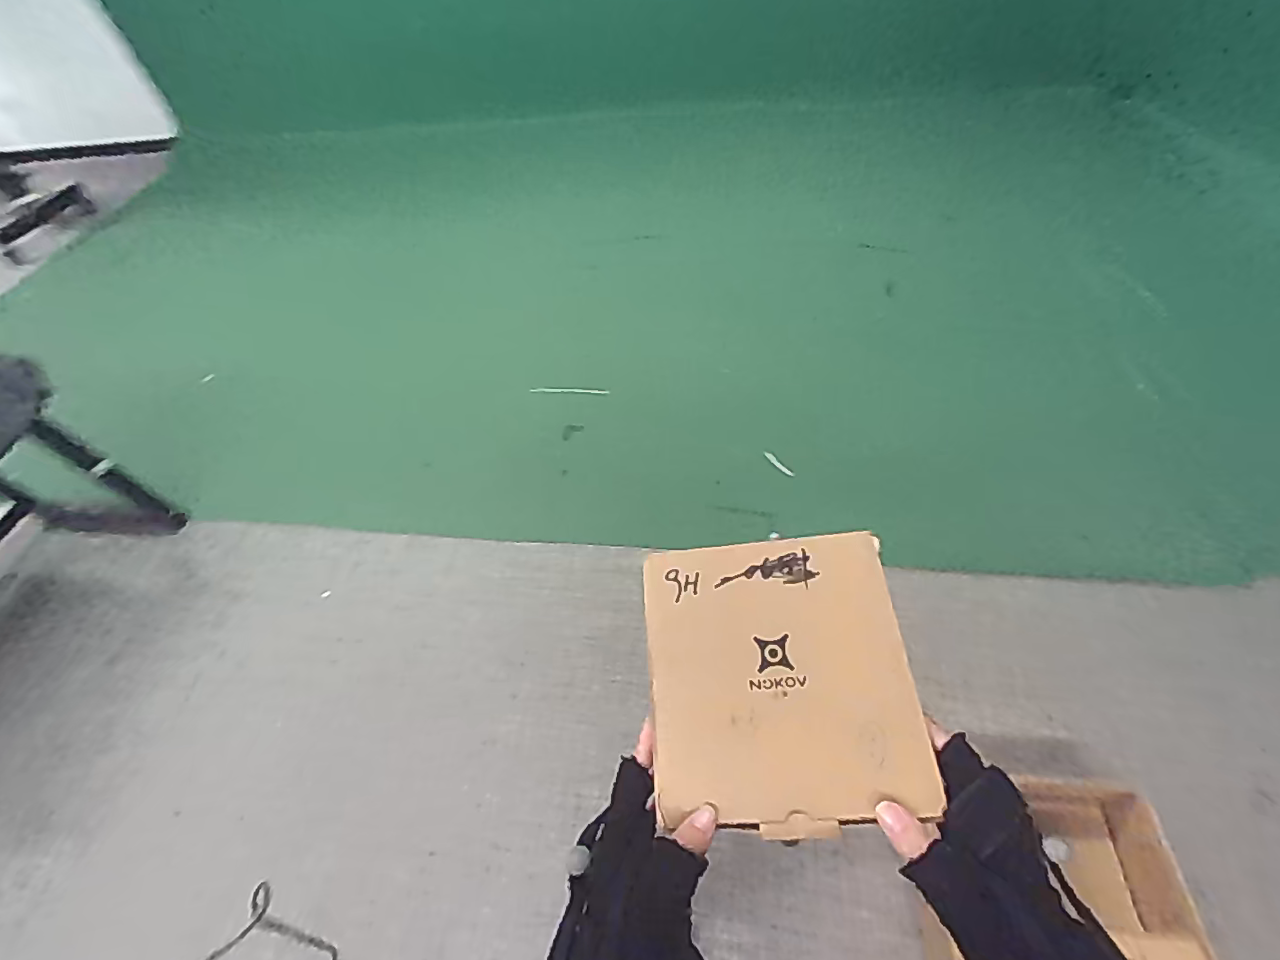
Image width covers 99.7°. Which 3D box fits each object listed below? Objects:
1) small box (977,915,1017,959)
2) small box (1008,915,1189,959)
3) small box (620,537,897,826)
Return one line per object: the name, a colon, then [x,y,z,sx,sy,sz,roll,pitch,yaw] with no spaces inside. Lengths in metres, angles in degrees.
small box: [0.696,0.843,0.903,0.179,0.176,0.168,1,55,6]
small box: [0.676,0.757,0.784,0.168,0.176,0.179,2,54,7]
small box: [0.087,0.168,0.446,0.168,0.176,0.179,-10,61,7]
